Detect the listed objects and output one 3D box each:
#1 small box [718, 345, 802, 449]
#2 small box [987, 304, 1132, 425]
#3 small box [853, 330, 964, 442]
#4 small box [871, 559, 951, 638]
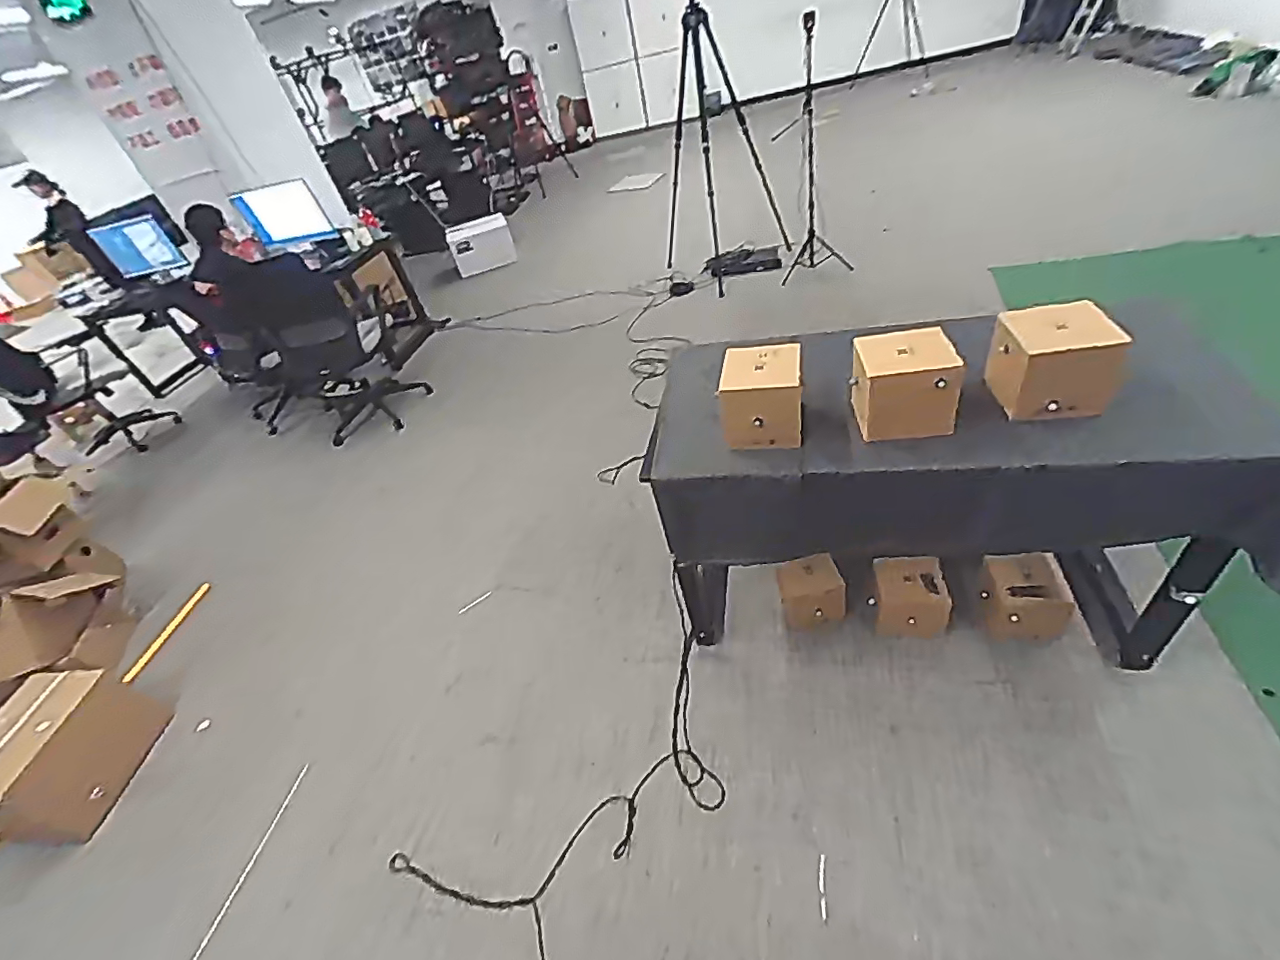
[{"bbox_3d":[0.277,-0.181,1.221,0.168,0.176,0.179,0,42,17],"label":"small box"},{"bbox_3d":[0.833,-0.233,1.099,0.168,0.176,0.179,-4,41,15],"label":"small box"},{"bbox_3d":[0.557,-0.196,1.149,0.179,0.176,0.168,-5,41,13],"label":"small box"},{"bbox_3d":[0.783,0.347,1.580,0.179,0.176,0.168,-4,42,16],"label":"small box"}]
